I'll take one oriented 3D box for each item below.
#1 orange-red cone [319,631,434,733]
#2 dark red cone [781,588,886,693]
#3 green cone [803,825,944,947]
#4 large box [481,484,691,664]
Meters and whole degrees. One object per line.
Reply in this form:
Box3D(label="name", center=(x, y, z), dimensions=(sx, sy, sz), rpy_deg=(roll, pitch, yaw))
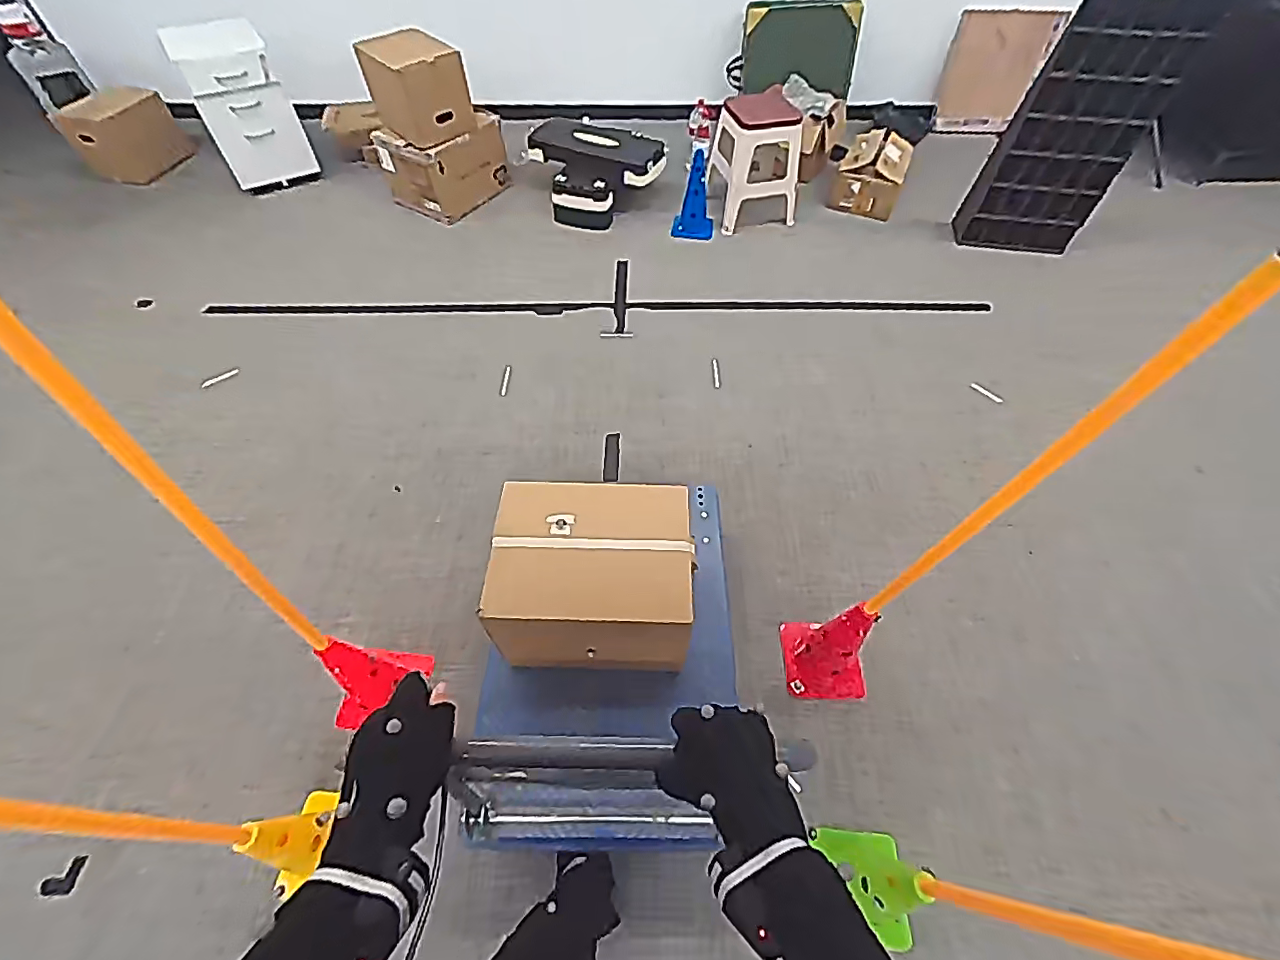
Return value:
Box3D(label="orange-red cone", center=(-0.646, 0.428, 1.247), dimensions=(0.198, 0.360, 0.199), rpy_deg=(7, 53, 3))
Box3D(label="dark red cone", center=(0.486, 0.359, 1.287), dimensions=(0.201, 0.394, 0.202), rpy_deg=(2, 54, -2))
Box3D(label="green cone", center=(0.461, 0.762, 1.017), dimensions=(0.202, 0.368, 0.200), rpy_deg=(5, 54, 1))
Box3D(label="large box", center=(-0.099, 0.220, 1.223), dimensions=(0.408, 0.320, 0.320), rpy_deg=(2, 55, 1))
